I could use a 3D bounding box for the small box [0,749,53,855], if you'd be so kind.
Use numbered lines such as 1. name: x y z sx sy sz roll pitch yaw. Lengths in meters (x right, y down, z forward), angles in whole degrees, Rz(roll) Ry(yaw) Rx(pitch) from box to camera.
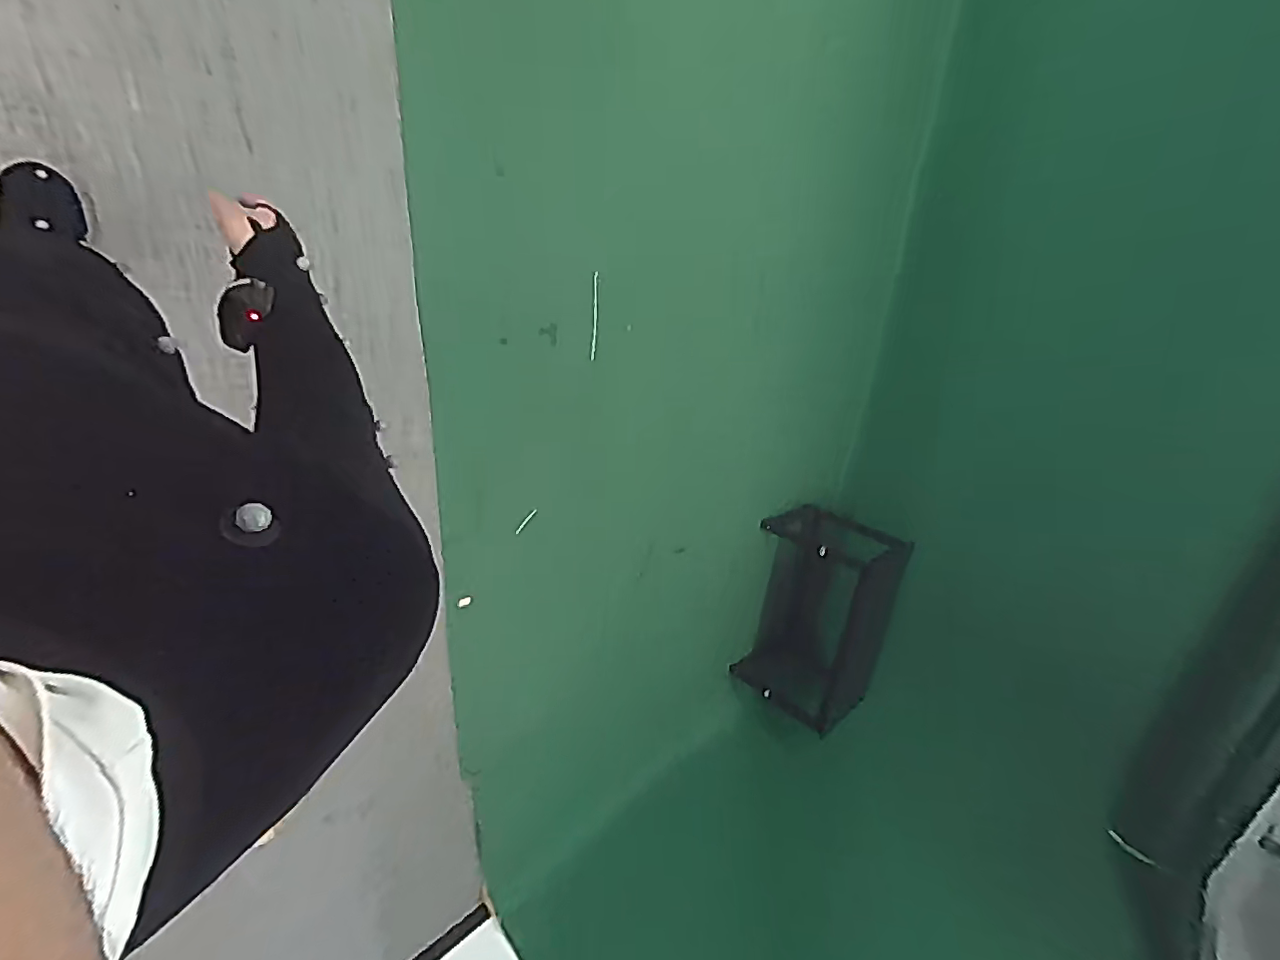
1. small box: -1.444 0.735 1.203 0.168 0.176 0.179 -10 117 -43

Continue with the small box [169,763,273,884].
1. small box: -1.083 0.871 1.397 0.168 0.176 0.179 -21 124 -37

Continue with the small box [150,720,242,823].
1. small box: -1.208 0.807 1.487 0.168 0.176 0.179 -23 125 -37
